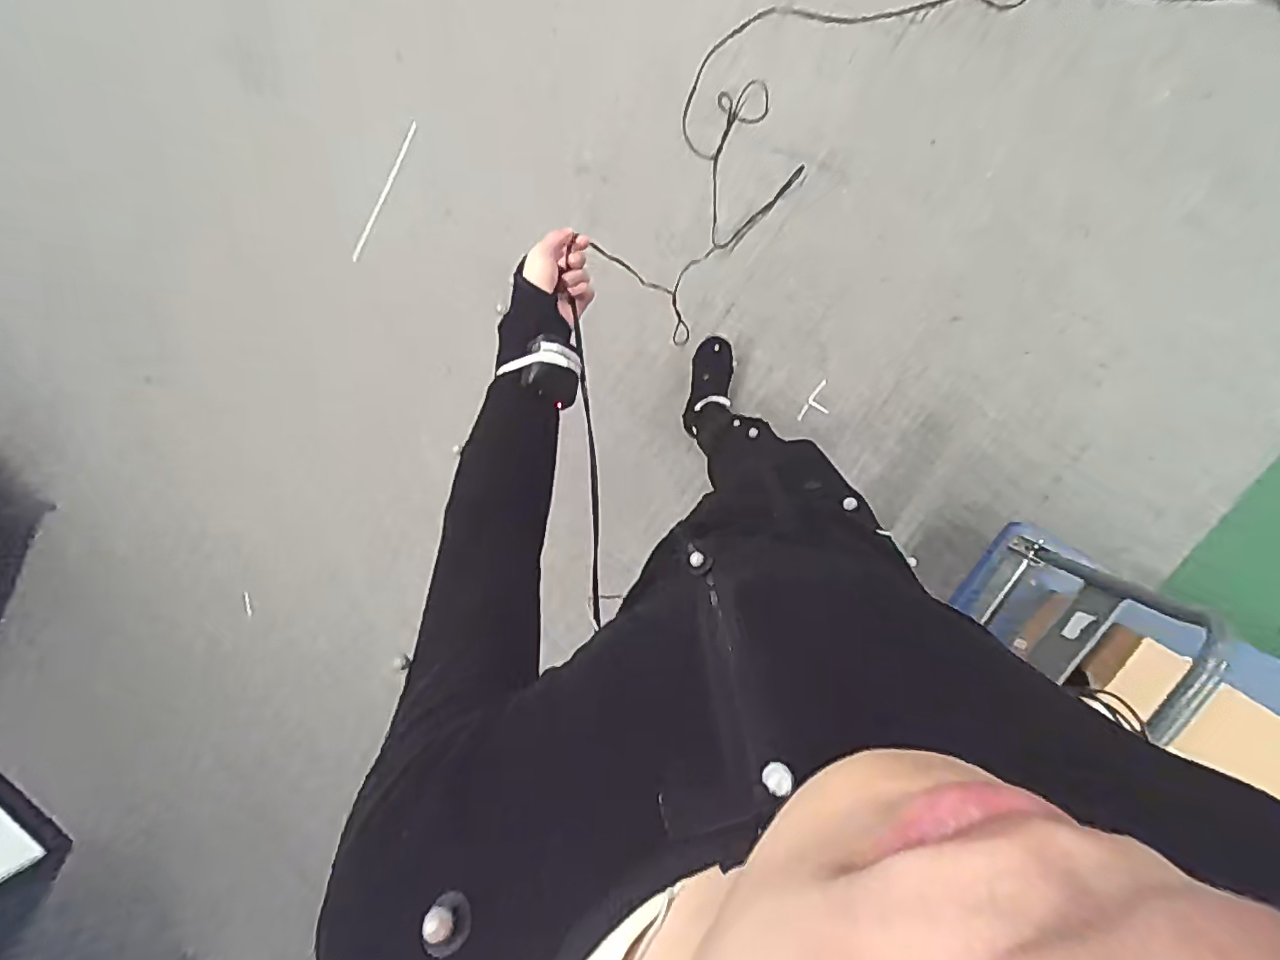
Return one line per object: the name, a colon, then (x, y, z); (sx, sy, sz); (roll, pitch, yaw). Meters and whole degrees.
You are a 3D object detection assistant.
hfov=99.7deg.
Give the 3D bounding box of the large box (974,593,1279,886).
large box: (1.023, 0.498, 1.127); (0.408, 0.320, 0.320); (33, 100, 7)
